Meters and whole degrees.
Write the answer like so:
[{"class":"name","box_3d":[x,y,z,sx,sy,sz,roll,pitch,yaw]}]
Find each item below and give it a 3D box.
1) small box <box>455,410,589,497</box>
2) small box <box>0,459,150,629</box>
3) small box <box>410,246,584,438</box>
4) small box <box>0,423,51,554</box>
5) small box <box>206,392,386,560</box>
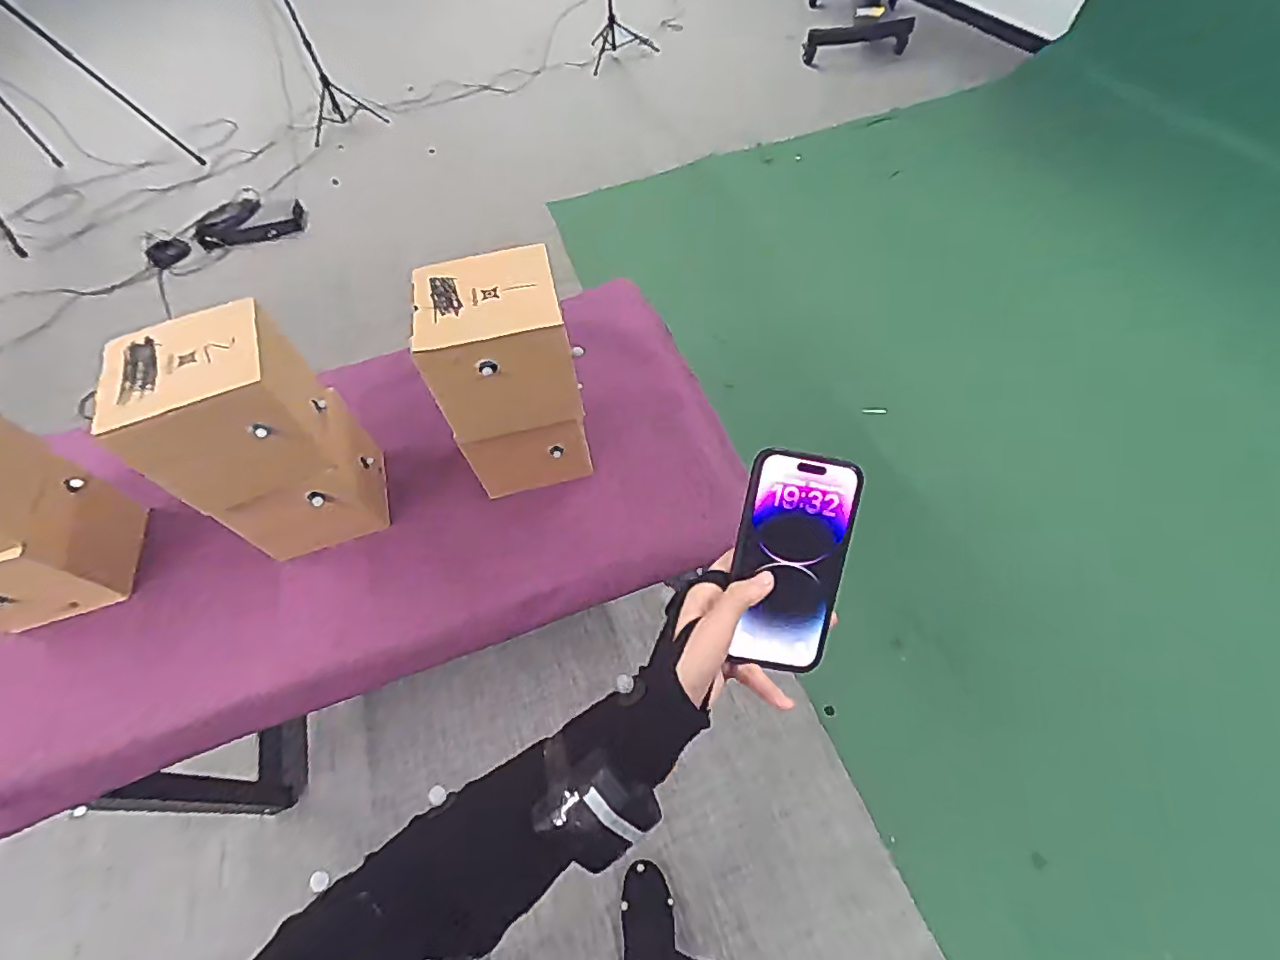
[{"class":"small box","box_3d":[-0.182,-0.095,0.863,0.179,0.176,0.168,-13,56,-2]},{"class":"small box","box_3d":[-0.884,0.103,0.798,0.168,0.176,0.179,-18,56,-6]},{"class":"small box","box_3d":[-0.183,-0.177,0.720,0.179,0.176,0.168,-13,56,-4]},{"class":"small box","box_3d":[-0.900,0.006,0.666,0.168,0.176,0.179,-22,58,-10]},{"class":"small box","box_3d":[-0.509,-0.002,0.830,0.179,0.176,0.168,-18,56,-6]}]
